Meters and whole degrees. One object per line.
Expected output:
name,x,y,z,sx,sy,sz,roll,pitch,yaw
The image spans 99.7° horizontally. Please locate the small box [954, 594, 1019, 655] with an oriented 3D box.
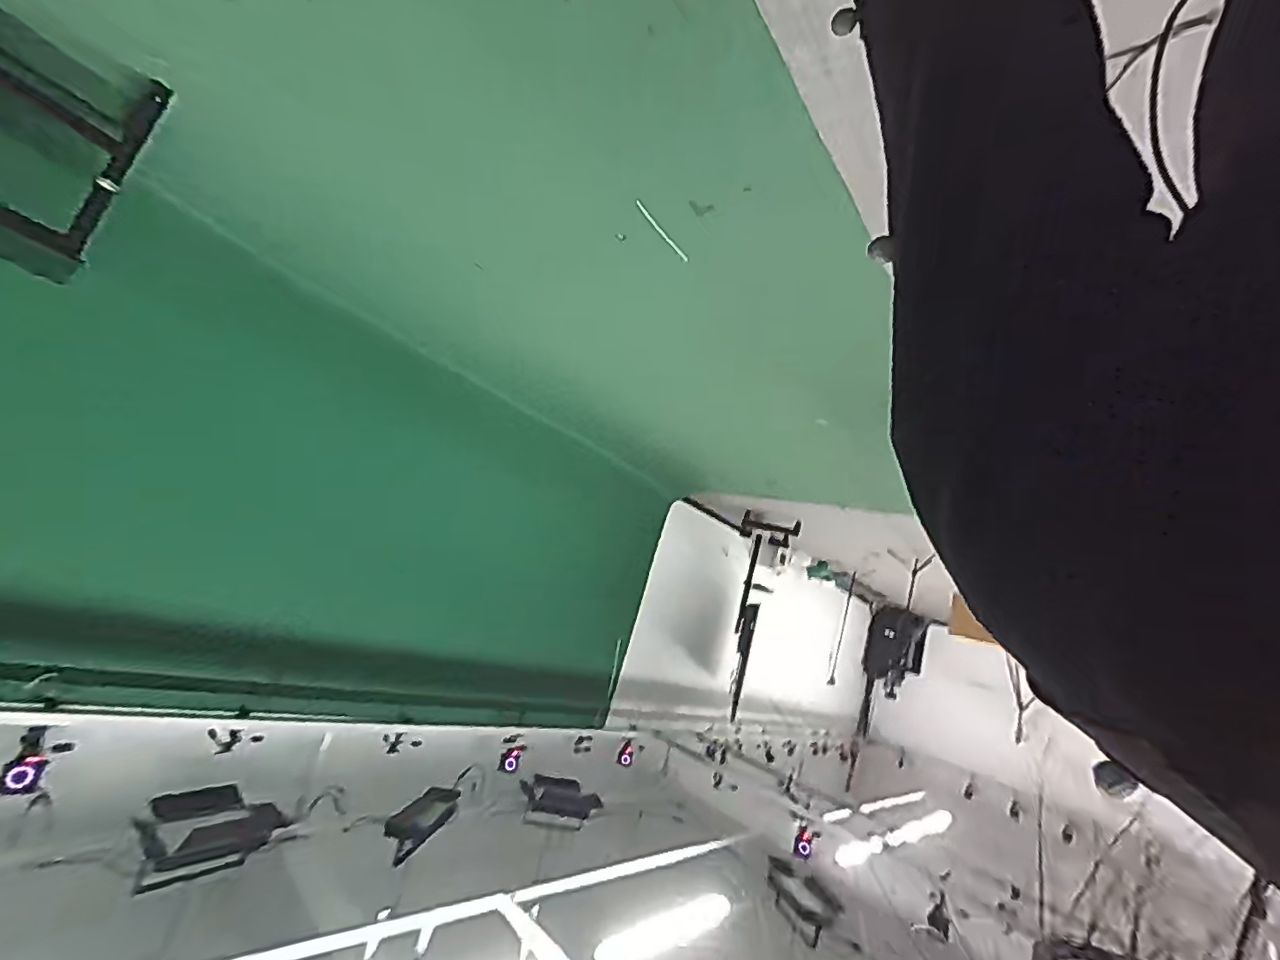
small box,1.282,0.530,1.992,0.168,0.176,0.179,3,162,44
